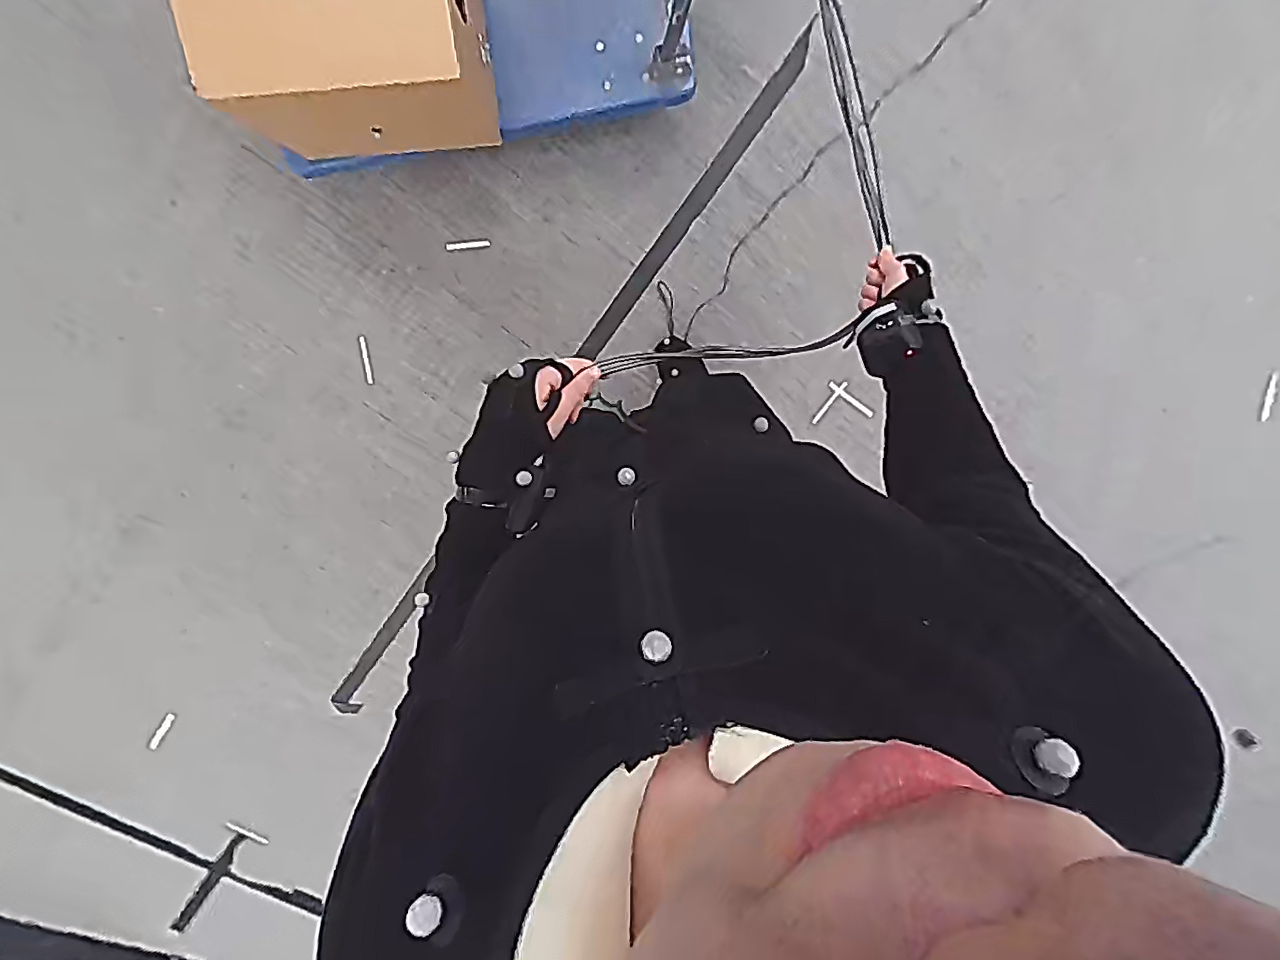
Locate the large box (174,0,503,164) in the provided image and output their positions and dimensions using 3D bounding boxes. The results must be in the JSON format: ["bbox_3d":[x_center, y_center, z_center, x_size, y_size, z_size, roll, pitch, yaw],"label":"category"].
[{"bbox_3d":[-0.486,-0.772,0.929,0.408,0.320,0.320,-5,105,0],"label":"large box"}]
